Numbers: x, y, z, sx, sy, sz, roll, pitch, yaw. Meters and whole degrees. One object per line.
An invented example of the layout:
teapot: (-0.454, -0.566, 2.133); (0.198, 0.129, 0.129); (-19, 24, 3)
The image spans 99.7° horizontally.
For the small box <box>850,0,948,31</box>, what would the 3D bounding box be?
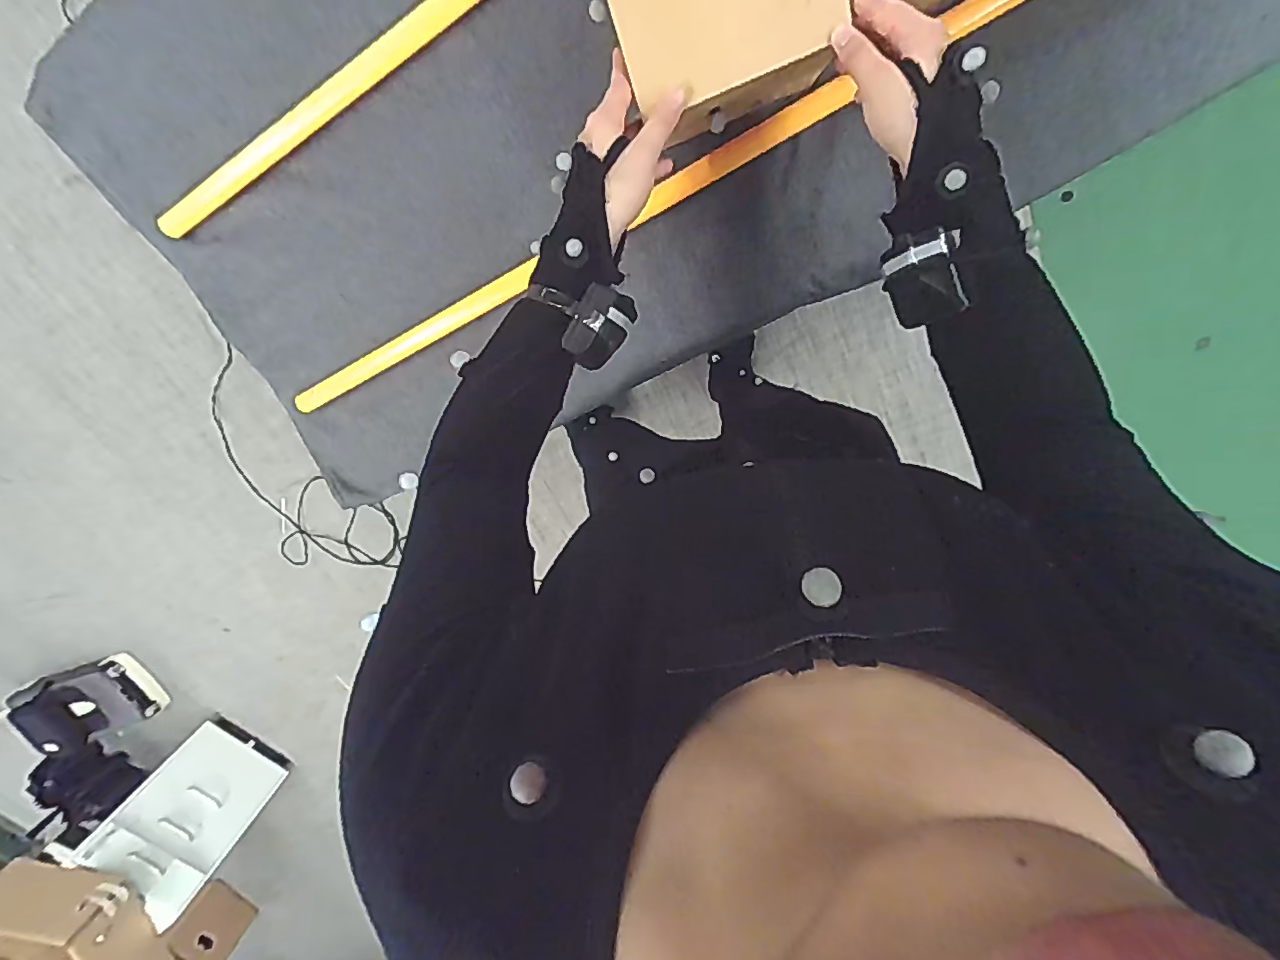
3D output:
small box: (0.239, -0.474, 0.394); (0.168, 0.176, 0.179); (-19, 111, 17)
